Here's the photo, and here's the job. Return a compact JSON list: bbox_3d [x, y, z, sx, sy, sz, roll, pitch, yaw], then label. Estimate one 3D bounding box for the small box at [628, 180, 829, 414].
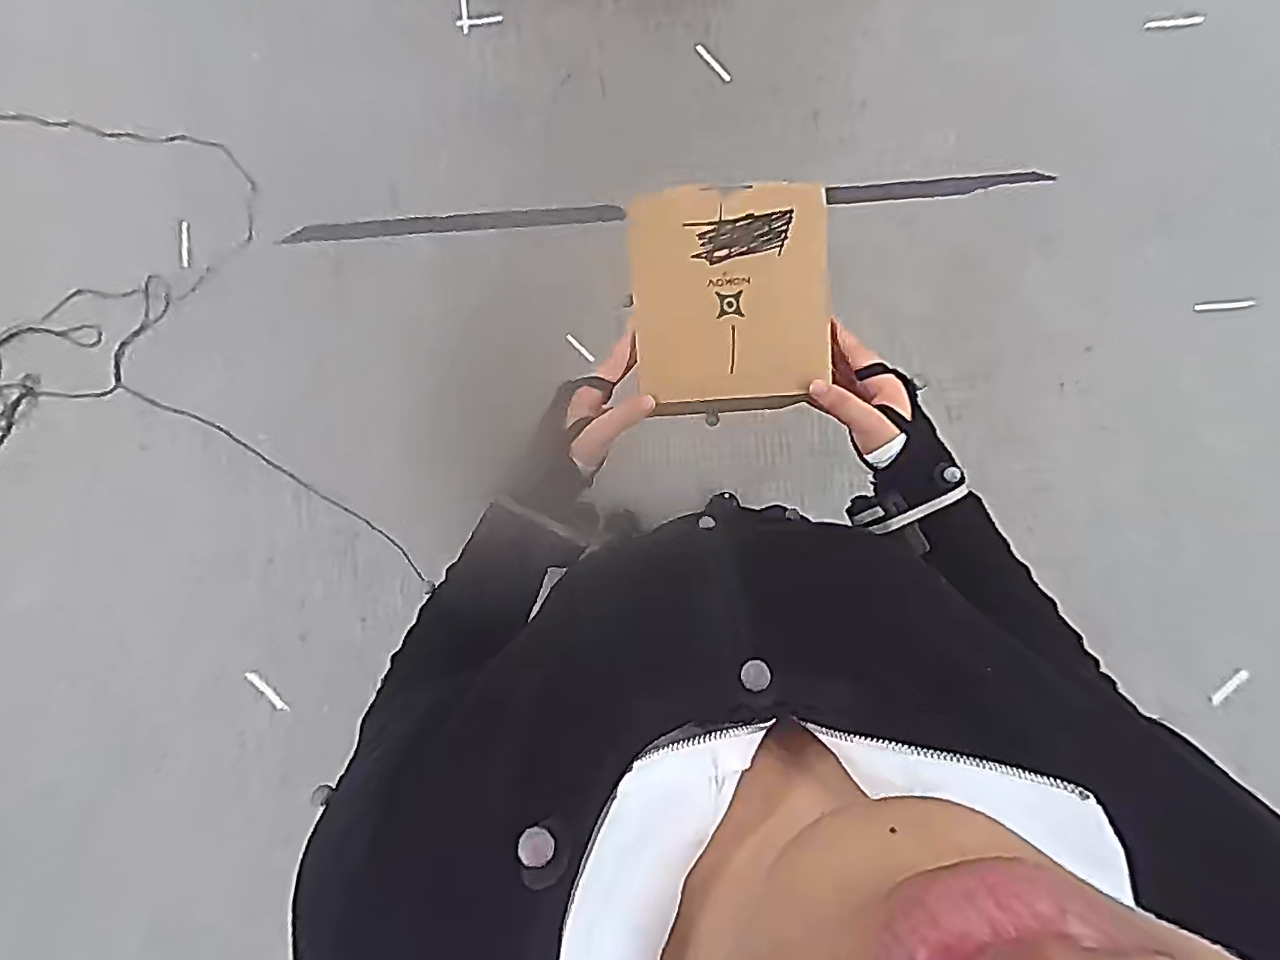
[{"bbox_3d":[0.074,-0.163,0.534,0.168,0.176,0.179,-4,93,1],"label":"small box"}]
